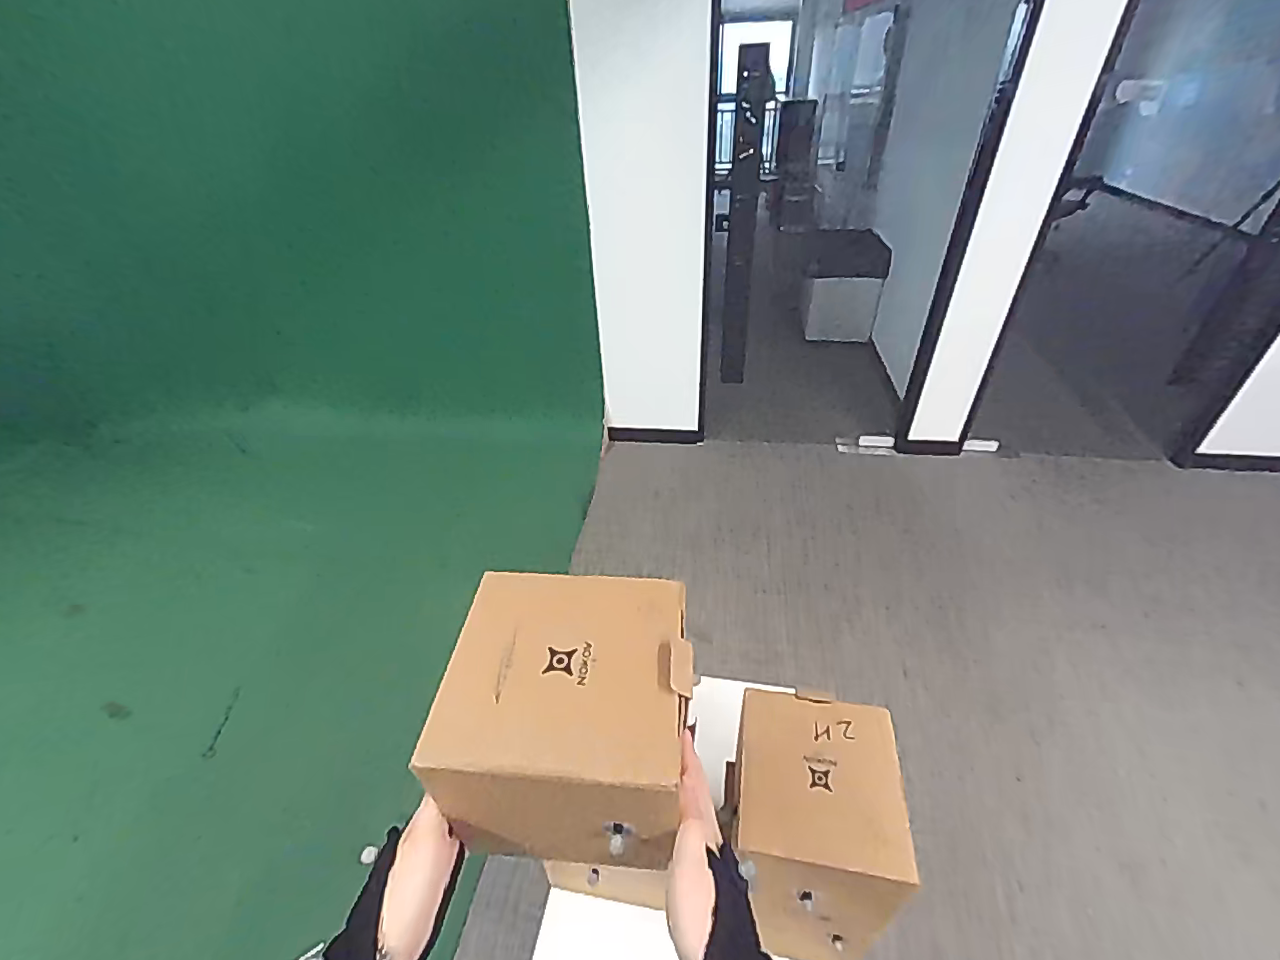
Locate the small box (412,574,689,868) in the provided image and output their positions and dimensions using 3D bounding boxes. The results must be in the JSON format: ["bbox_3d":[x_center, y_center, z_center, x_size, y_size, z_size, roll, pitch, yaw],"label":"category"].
[{"bbox_3d":[-0.050,0.198,0.449,0.179,0.176,0.168,1,39,5],"label":"small box"}]

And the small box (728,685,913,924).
[{"bbox_3d":[0.192,0.370,0.621,0.168,0.176,0.179,6,38,10],"label":"small box"}]

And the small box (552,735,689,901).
[{"bbox_3d":[-0.027,0.470,0.774,0.179,0.176,0.168,5,39,8],"label":"small box"}]
